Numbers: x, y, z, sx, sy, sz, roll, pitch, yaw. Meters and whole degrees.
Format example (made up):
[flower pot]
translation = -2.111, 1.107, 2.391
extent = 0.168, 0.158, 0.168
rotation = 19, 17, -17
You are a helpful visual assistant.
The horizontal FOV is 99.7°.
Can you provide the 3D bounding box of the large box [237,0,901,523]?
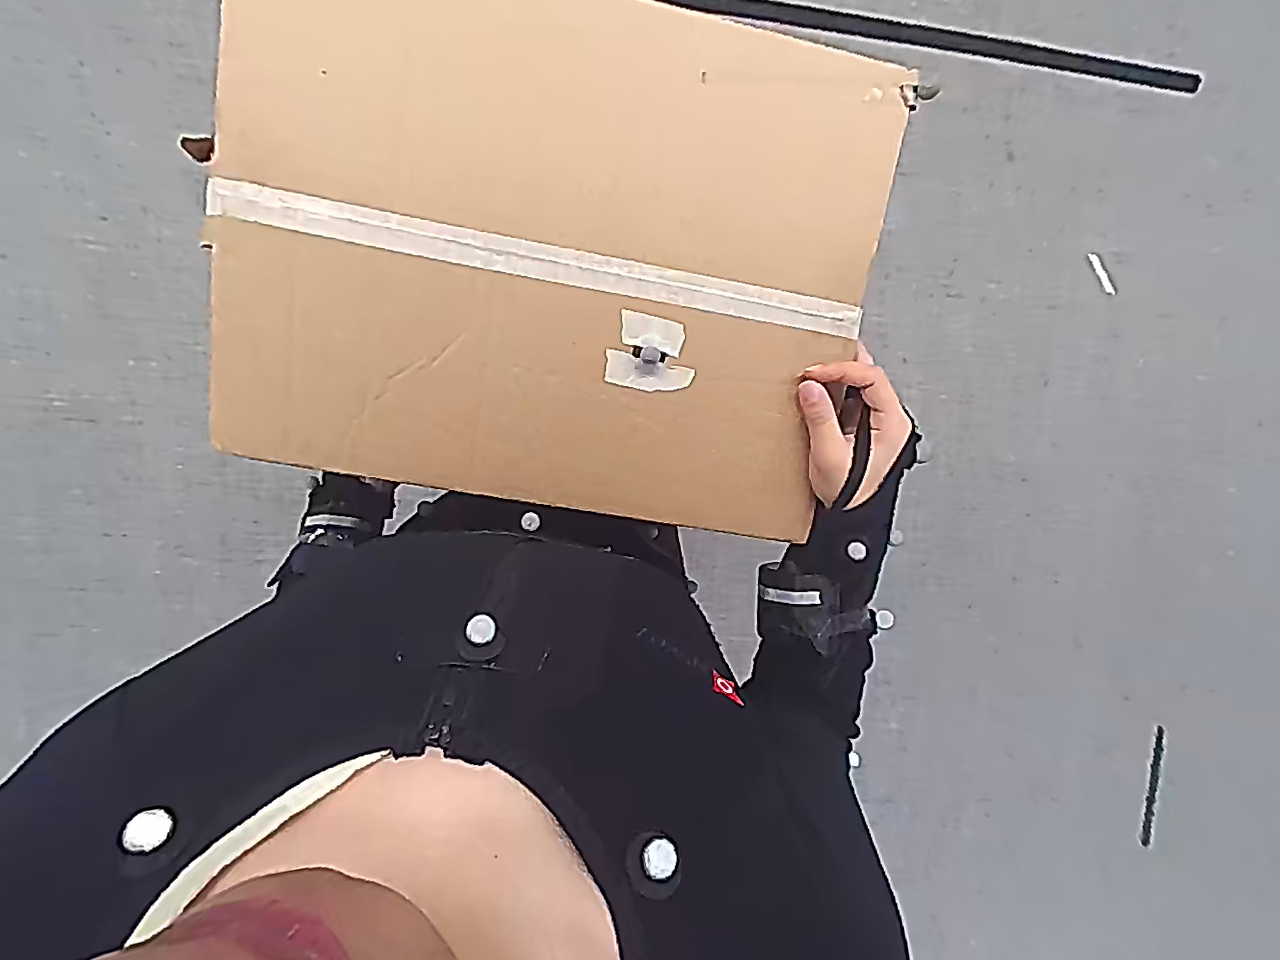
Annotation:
[large box]
translation = -0.062, -0.168, 0.497
extent = 0.408, 0.320, 0.320
rotation = 8, 101, -7
